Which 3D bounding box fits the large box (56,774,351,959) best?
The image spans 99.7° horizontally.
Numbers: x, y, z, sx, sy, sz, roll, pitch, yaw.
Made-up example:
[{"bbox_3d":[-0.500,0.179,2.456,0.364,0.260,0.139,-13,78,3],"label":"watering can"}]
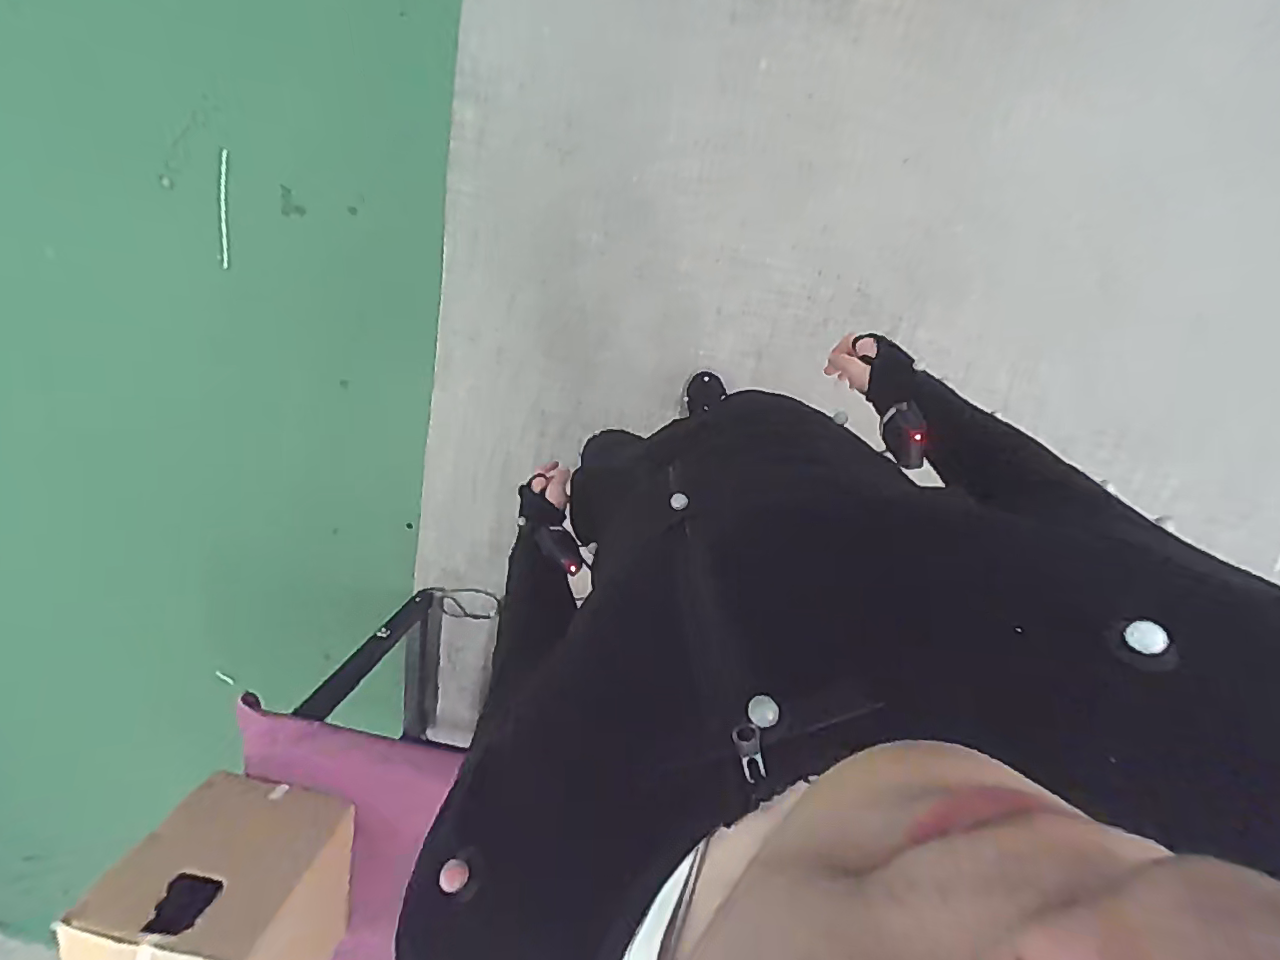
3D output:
[{"bbox_3d":[-0.796,0.870,1.042,0.320,0.320,0.408,12,105,0],"label":"large box"}]
